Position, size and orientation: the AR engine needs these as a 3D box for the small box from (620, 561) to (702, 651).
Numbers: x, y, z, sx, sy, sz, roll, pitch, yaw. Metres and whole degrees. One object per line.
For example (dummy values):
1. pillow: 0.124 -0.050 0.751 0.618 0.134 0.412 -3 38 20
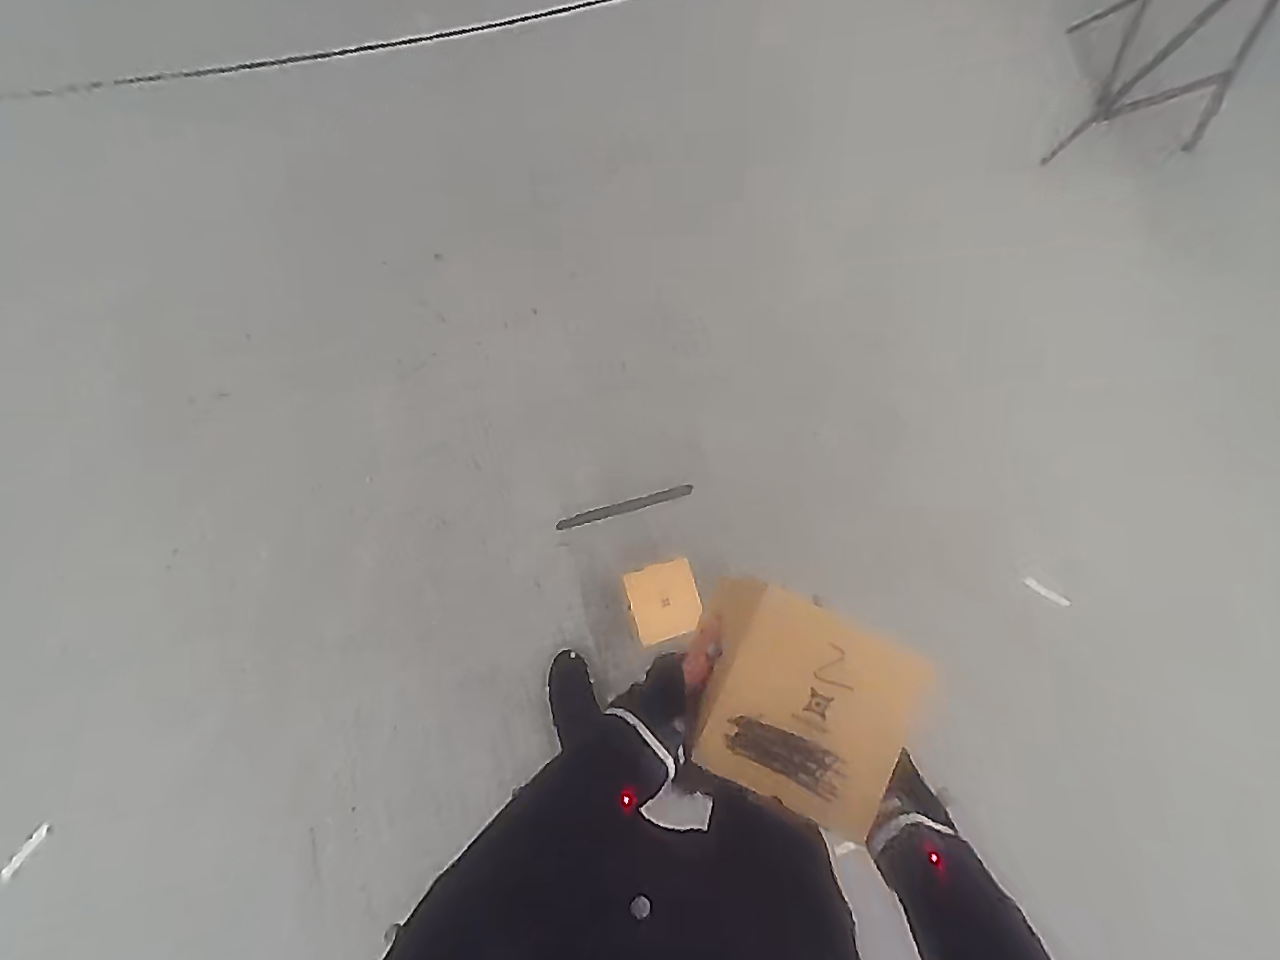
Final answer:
1. small box: 0.053 0.313 1.361 0.168 0.176 0.179 -16 80 -9

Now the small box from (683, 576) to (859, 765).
1. small box: 0.160 0.236 0.724 0.168 0.176 0.179 19 84 3
